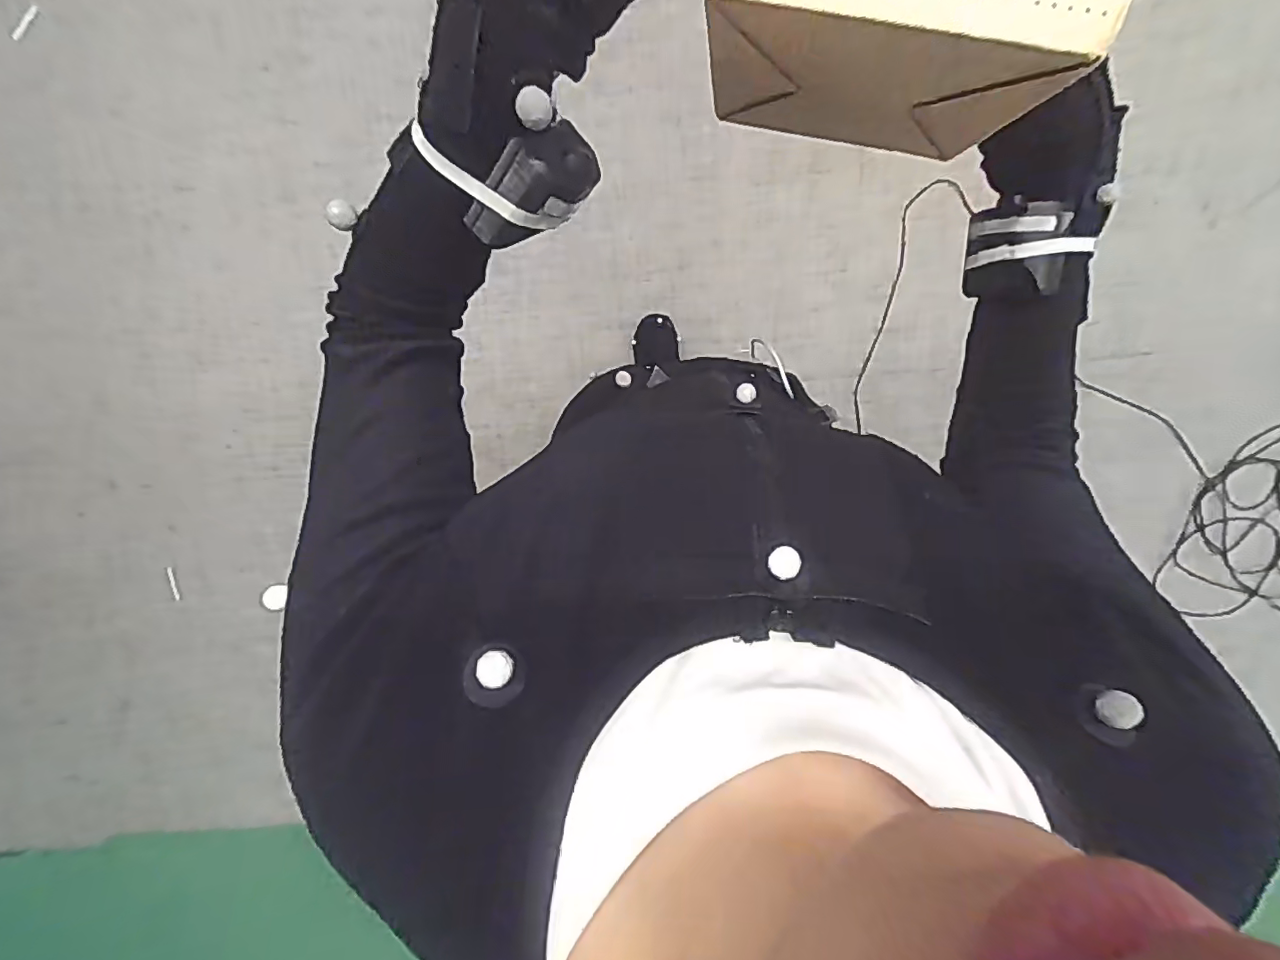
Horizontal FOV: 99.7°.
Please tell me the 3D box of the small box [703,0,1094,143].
[{"bbox_3d":[0.133,-0.295,0.281,0.168,0.179,0.176,13,109,6],"label":"small box"}]
